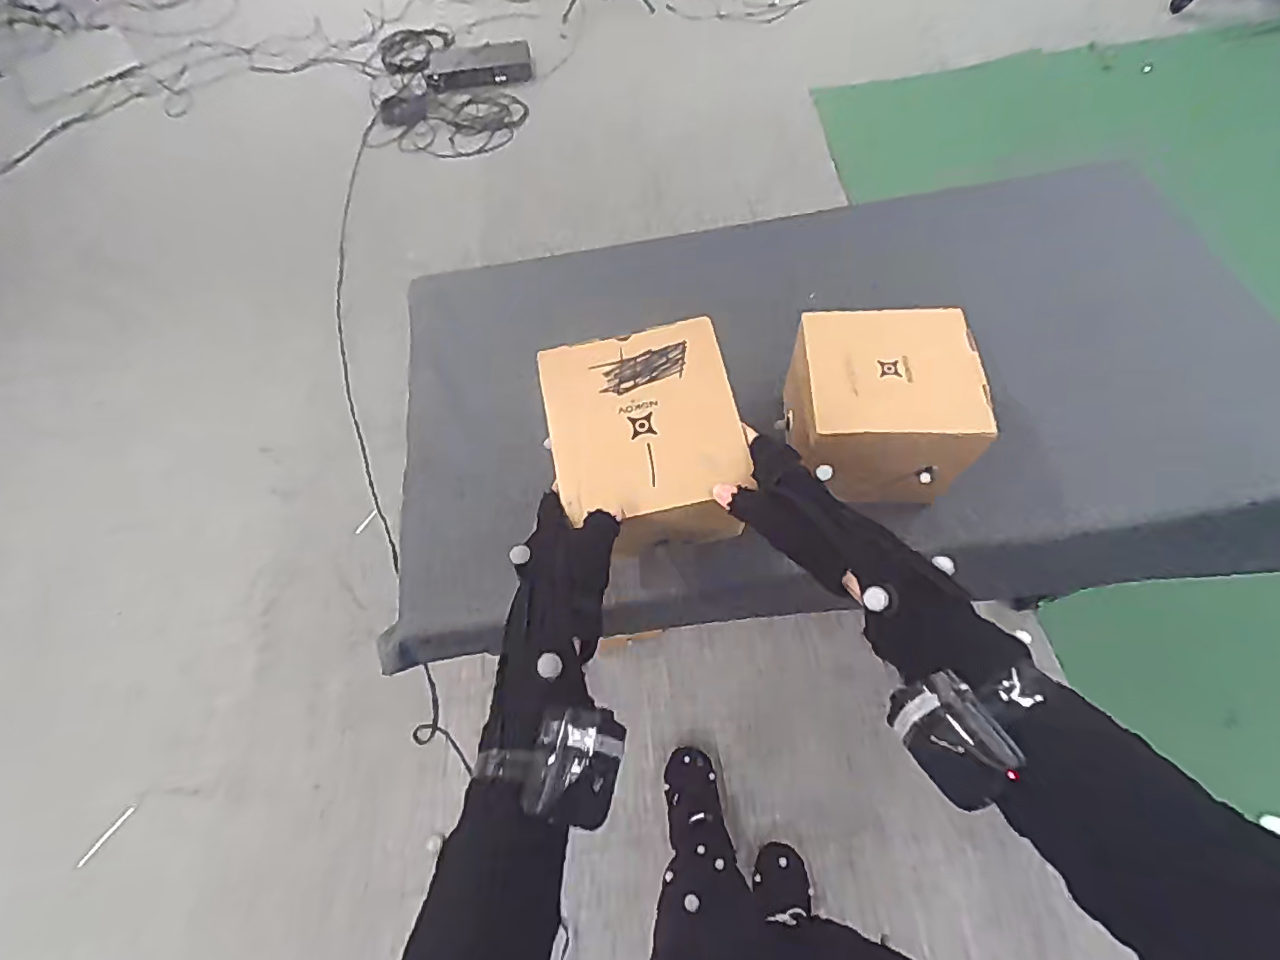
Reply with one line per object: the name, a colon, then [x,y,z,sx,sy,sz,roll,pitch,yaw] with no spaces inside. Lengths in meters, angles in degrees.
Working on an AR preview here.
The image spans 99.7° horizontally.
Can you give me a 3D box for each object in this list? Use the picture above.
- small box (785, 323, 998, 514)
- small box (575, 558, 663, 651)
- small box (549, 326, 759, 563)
small box: [0.279,-0.066,0.647,0.179,0.176,0.168,0,62,6]
small box: [-0.047,0.303,1.308,0.168,0.176,0.179,-17,64,-4]
small box: [0.012,-0.025,0.557,0.168,0.176,0.179,-11,71,1]
